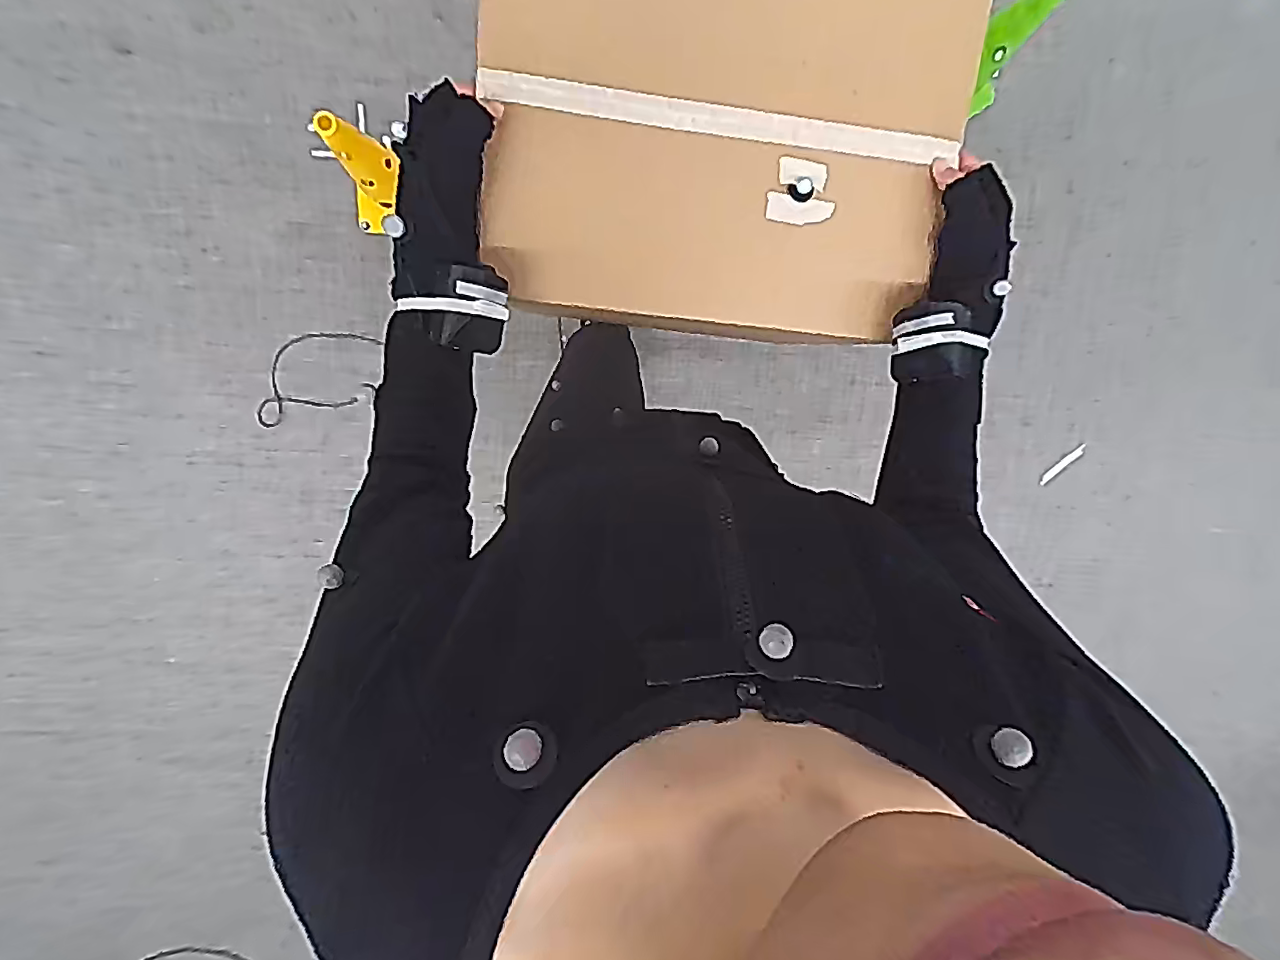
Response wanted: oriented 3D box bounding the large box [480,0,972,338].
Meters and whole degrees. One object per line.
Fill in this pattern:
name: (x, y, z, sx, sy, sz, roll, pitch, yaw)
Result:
large box: (0.054, -0.334, 0.597, 0.408, 0.320, 0.320, 4, 104, -7)
